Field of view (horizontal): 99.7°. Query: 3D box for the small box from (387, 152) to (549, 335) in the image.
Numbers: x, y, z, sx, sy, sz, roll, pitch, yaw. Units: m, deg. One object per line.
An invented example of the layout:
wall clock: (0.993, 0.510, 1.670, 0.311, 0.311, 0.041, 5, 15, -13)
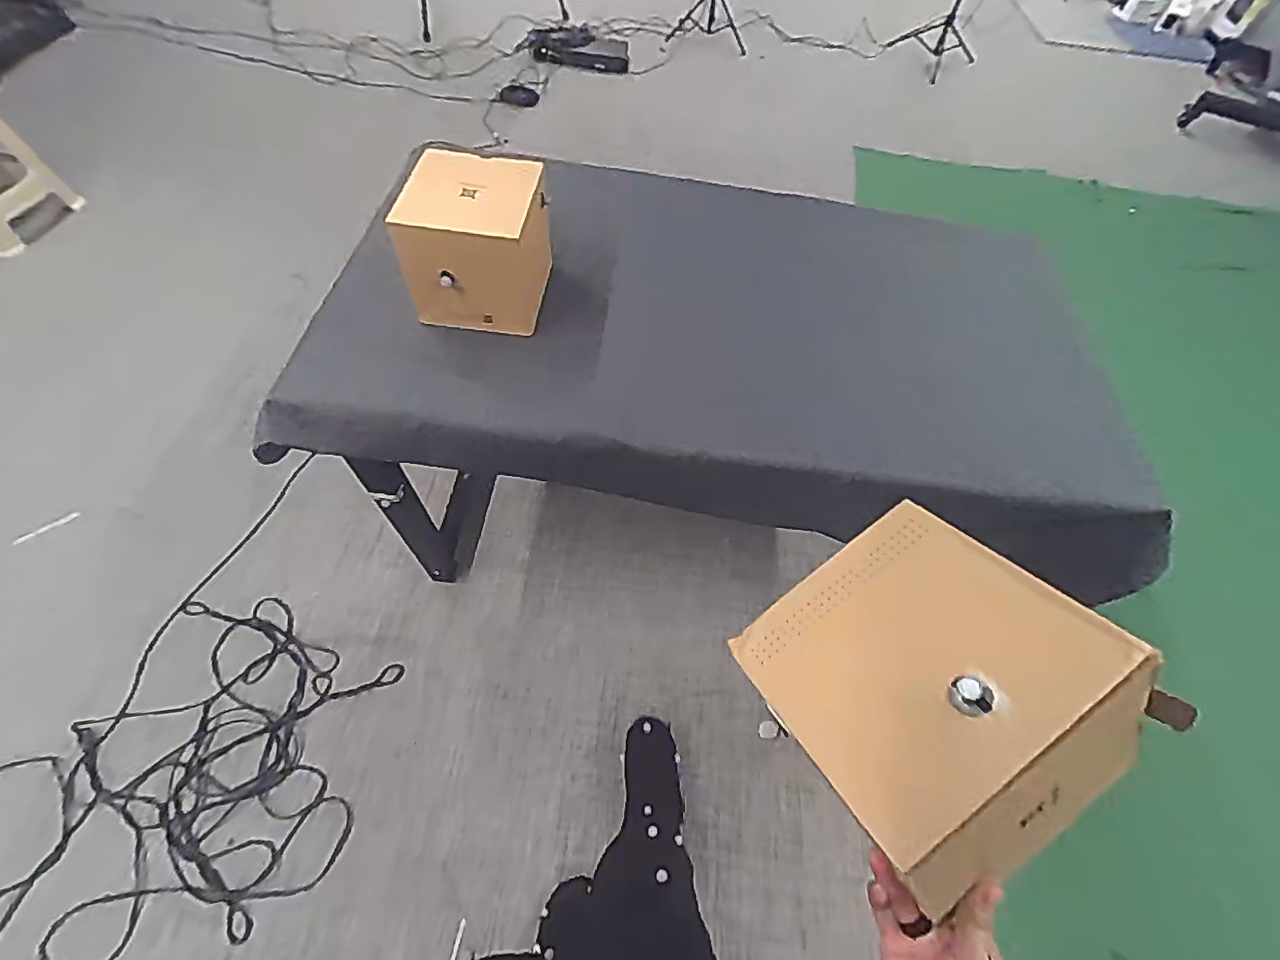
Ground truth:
small box: (-0.227, -0.330, 0.771, 0.168, 0.176, 0.179, 6, 57, -1)

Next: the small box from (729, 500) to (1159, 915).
small box: (0.195, 0.145, 0.378, 0.179, 0.168, 0.176, -38, 36, -3)
